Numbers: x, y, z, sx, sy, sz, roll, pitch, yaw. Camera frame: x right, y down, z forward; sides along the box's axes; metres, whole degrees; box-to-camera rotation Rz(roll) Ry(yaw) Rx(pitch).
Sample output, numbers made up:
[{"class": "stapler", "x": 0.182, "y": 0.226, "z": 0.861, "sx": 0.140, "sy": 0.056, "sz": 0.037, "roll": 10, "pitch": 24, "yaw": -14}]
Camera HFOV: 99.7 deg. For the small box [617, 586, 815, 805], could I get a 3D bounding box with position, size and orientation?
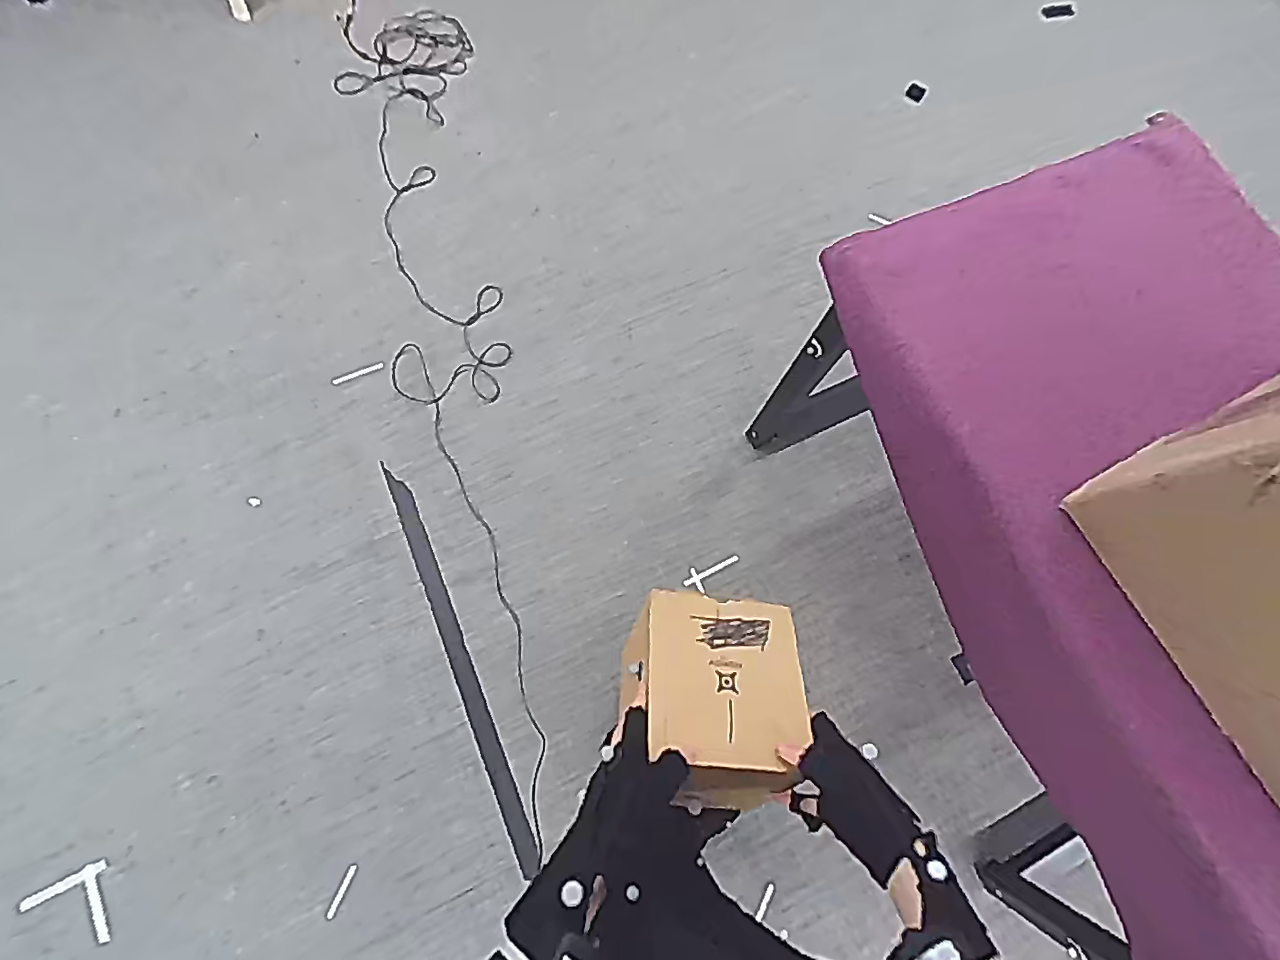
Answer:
[{"class": "small box", "x": 0.070, "y": 0.245, "z": 0.610, "sx": 0.168, "sy": 0.176, "sz": 0.179, "roll": 8, "pitch": 48, "yaw": -8}]
